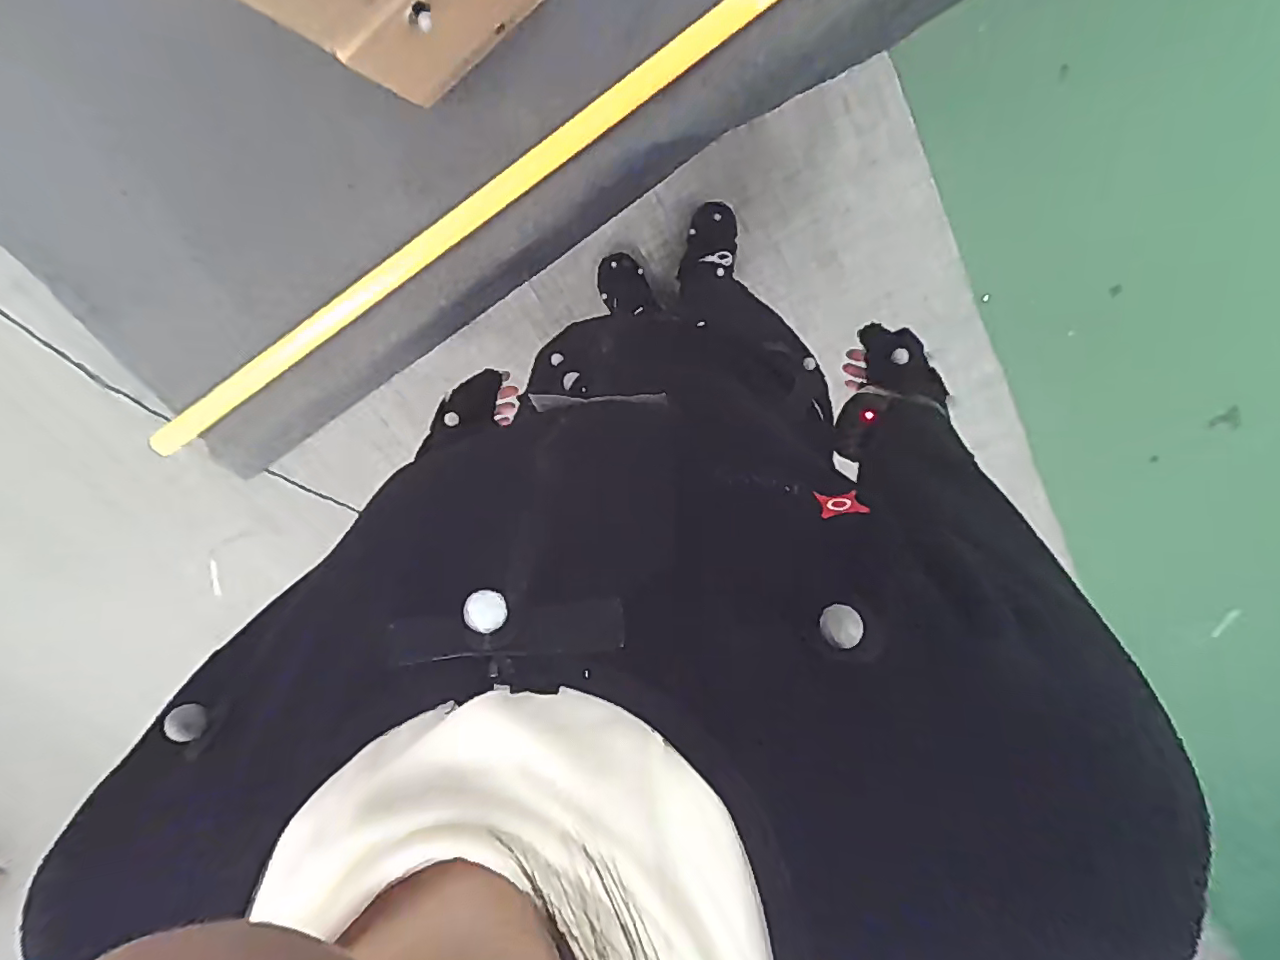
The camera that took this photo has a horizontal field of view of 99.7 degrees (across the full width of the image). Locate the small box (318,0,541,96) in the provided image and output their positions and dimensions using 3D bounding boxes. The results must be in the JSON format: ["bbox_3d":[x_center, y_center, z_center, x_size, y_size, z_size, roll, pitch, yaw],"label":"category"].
[{"bbox_3d":[-0.197,-0.448,0.418,0.168,0.176,0.179,-32,110,15],"label":"small box"}]
